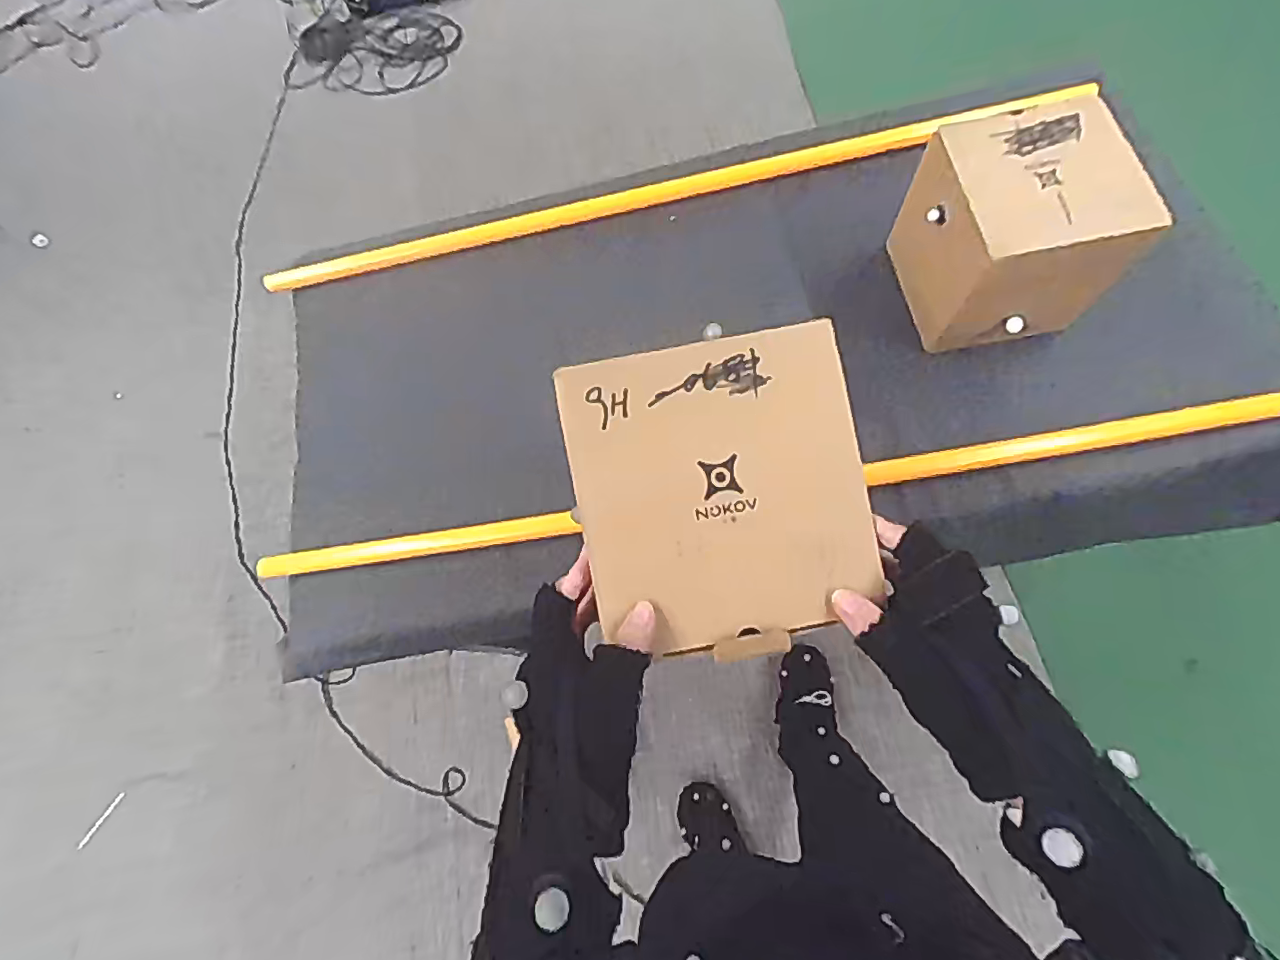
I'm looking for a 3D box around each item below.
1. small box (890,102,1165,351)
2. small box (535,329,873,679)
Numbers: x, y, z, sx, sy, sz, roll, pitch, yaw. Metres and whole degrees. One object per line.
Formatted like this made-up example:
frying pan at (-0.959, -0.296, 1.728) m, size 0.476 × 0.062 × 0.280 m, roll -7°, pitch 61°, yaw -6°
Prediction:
small box at (0.409, -0.275, 0.613) m, size 0.168 × 0.176 × 0.179 m, roll -10°, pitch 70°, yaw 4°
small box at (0.038, 0.014, 0.391) m, size 0.168 × 0.176 × 0.179 m, roll -14°, pitch 89°, yaw 0°
